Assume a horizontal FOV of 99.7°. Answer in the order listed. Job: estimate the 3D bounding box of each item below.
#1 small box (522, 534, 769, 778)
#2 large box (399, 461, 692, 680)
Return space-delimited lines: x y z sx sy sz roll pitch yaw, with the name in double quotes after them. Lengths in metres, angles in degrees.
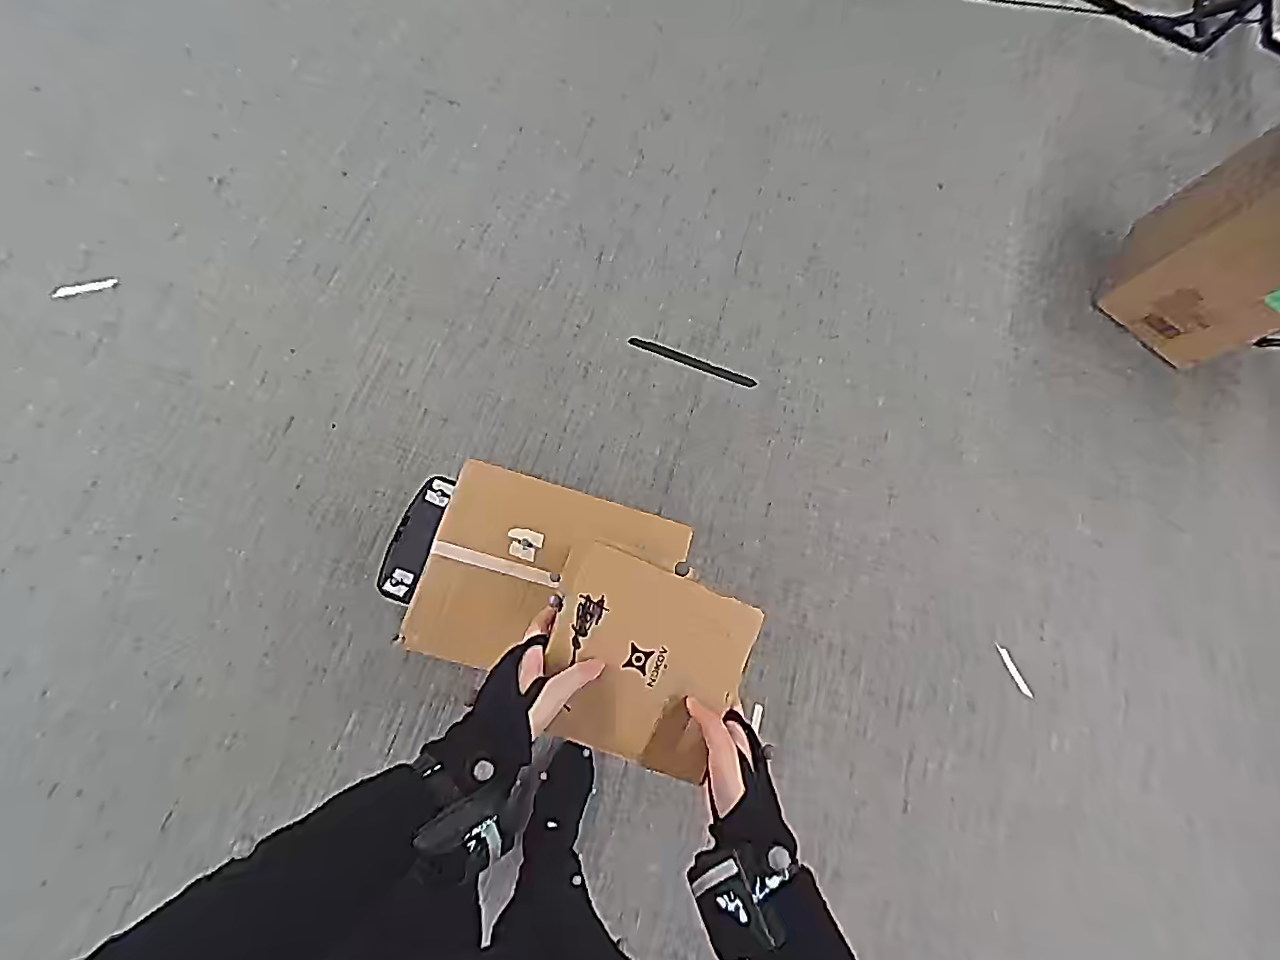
-0.004 0.159 0.551 0.179 0.176 0.168 25 82 -8 "small box"
-0.157 0.201 1.007 0.408 0.320 0.320 18 72 -4 "large box"
